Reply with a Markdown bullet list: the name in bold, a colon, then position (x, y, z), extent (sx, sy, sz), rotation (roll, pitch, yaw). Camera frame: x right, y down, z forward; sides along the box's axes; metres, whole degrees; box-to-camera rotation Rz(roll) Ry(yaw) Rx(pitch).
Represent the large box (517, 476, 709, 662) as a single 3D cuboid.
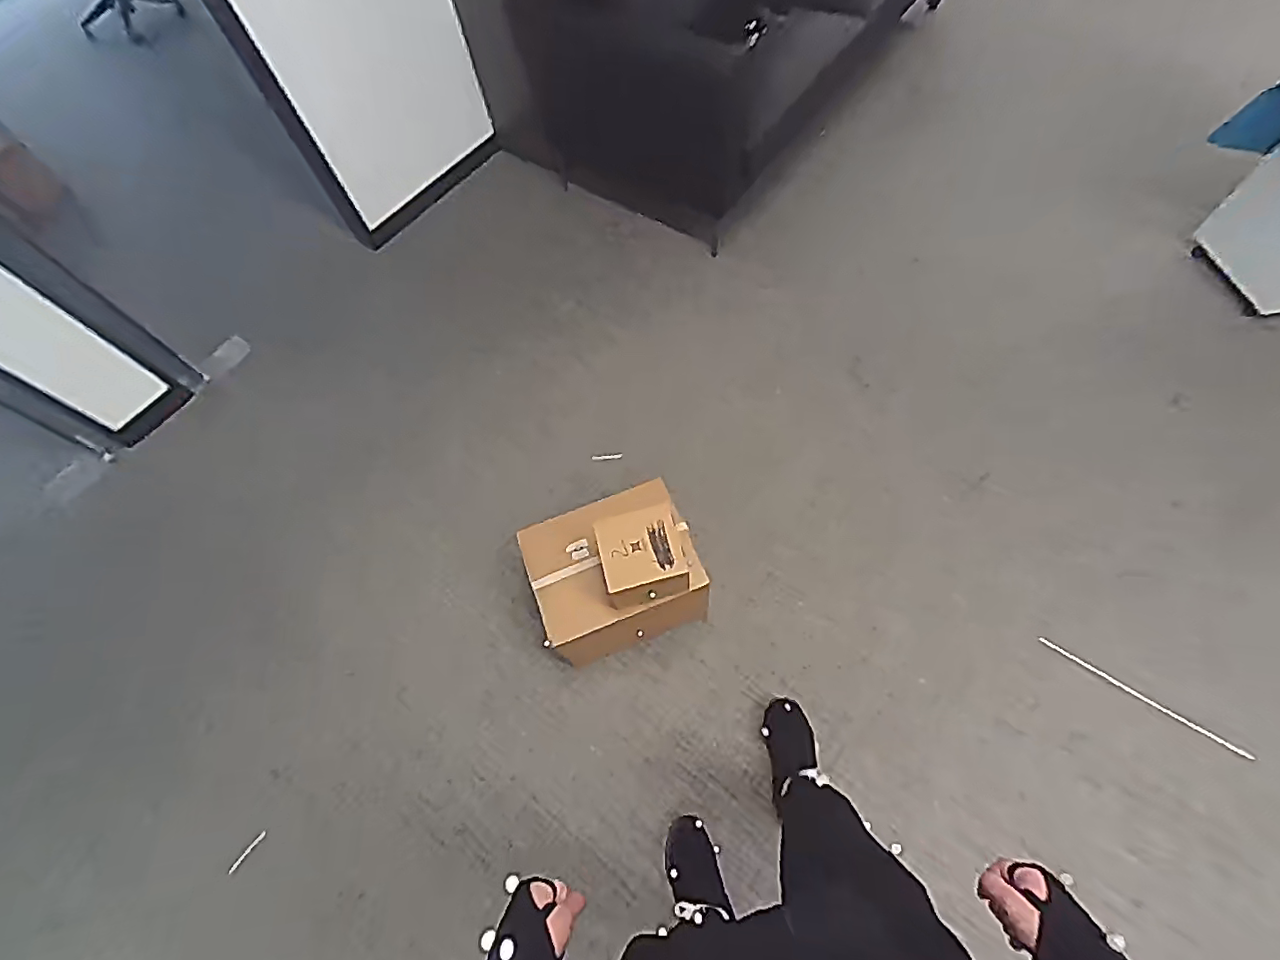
- **large box**: position (-0.059, 0.249, 1.450), extent (0.408, 0.320, 0.320), rotation (-22, 63, -5)
